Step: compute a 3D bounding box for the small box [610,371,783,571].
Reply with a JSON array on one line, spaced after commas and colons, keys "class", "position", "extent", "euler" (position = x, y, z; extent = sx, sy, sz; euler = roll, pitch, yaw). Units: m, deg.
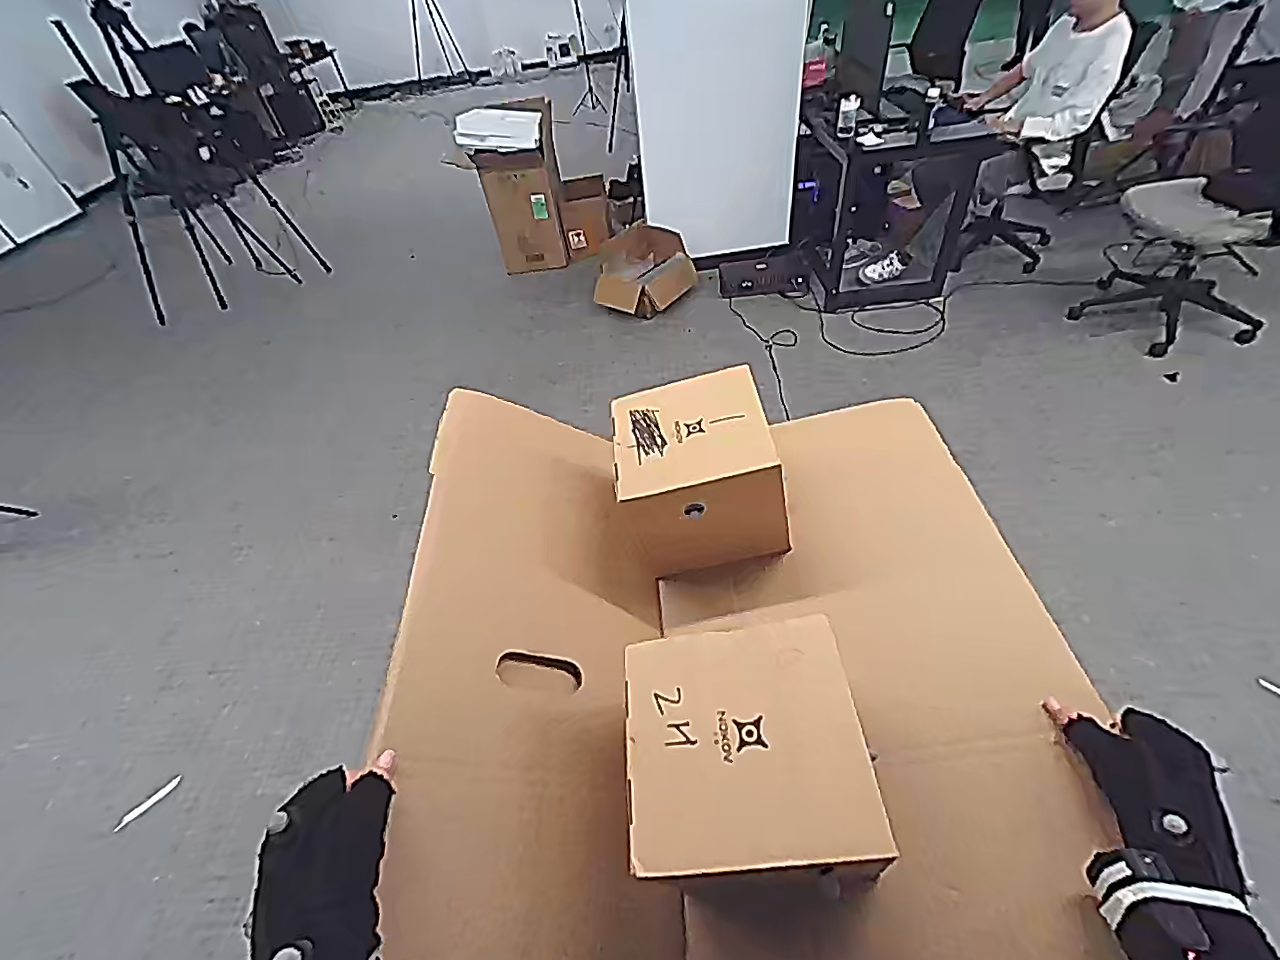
[{"class": "small box", "position": [0.072, -0.004, 0.684], "extent": [0.179, 0.176, 0.168], "euler": [-13, 49, 9]}]
